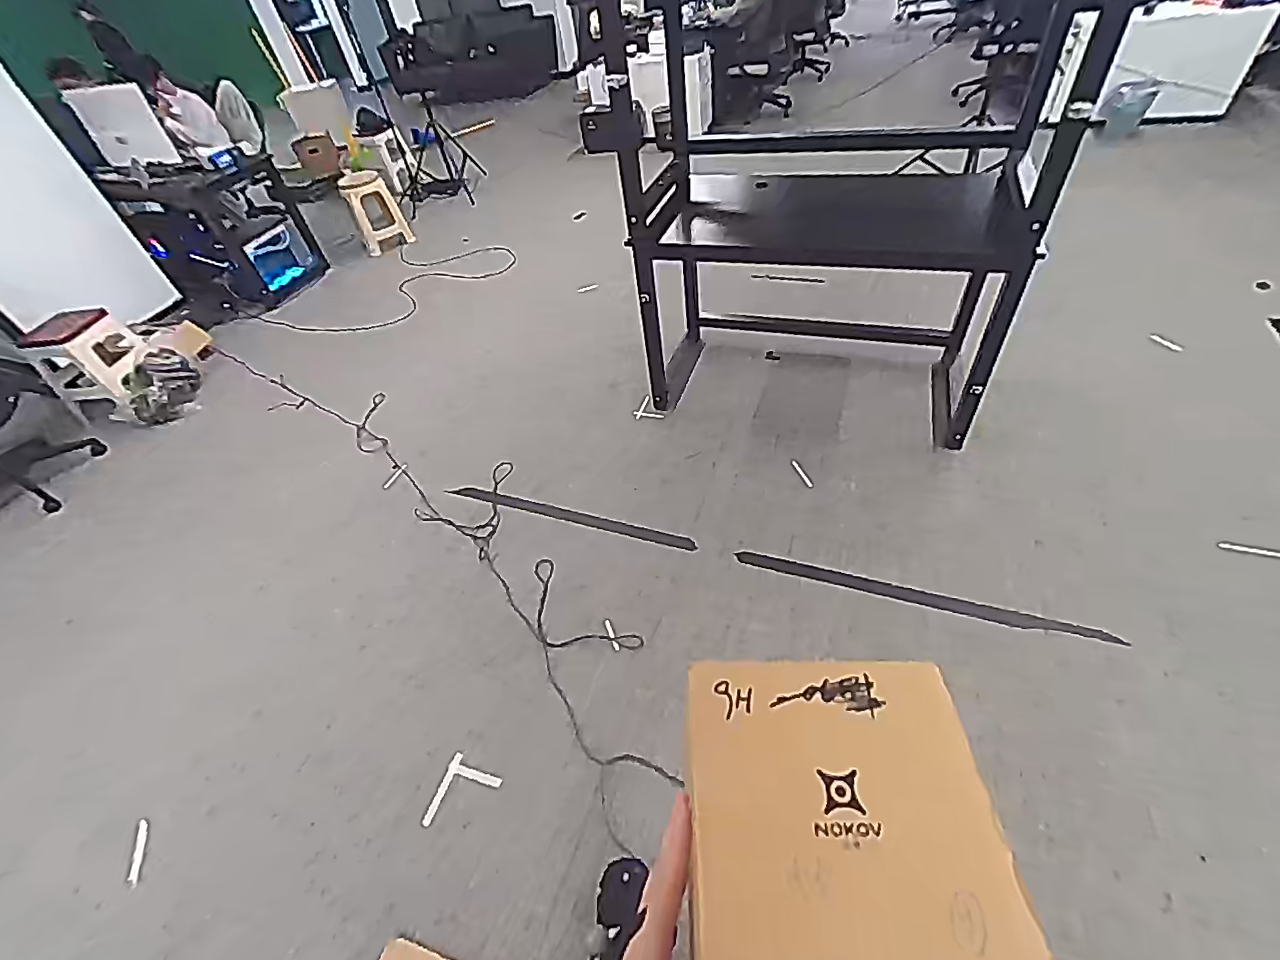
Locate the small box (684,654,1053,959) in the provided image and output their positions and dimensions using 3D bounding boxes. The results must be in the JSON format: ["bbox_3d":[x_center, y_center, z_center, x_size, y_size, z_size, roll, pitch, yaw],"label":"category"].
[{"bbox_3d":[0.115,0.233,0.353,0.168,0.176,0.179,0,46,2],"label":"small box"}]
